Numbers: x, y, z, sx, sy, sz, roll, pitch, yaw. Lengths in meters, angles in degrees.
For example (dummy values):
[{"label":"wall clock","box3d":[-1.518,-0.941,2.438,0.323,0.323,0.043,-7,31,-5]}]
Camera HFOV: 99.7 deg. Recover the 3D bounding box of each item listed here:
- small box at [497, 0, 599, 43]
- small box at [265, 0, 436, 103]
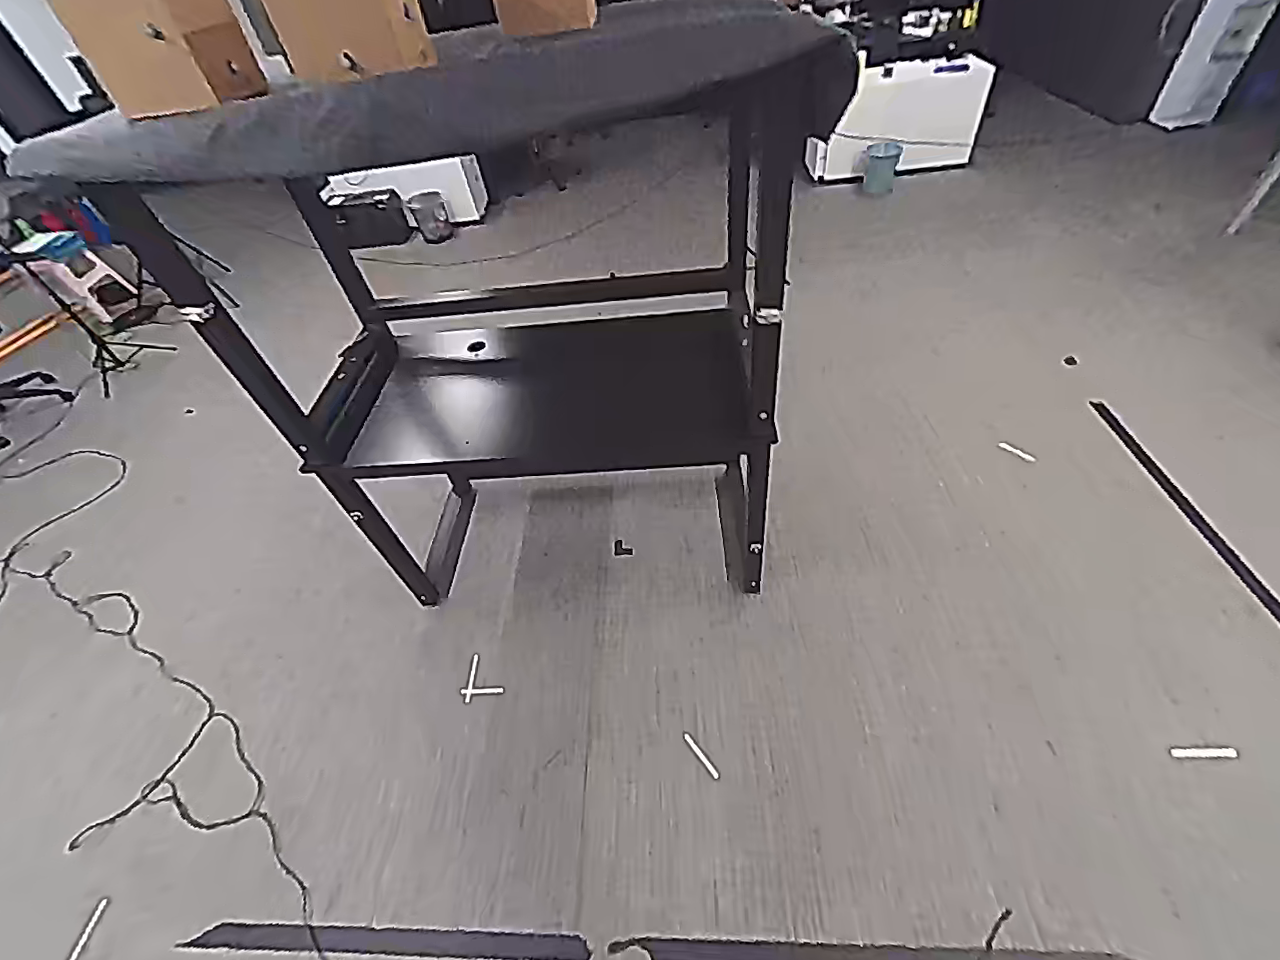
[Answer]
[{"label":"small box","box3d":[-0.183,-0.961,1.032,0.179,0.176,0.168,-4,48,6]},{"label":"small box","box3d":[-0.451,-0.727,0.860,0.179,0.176,0.168,-4,47,5]}]
